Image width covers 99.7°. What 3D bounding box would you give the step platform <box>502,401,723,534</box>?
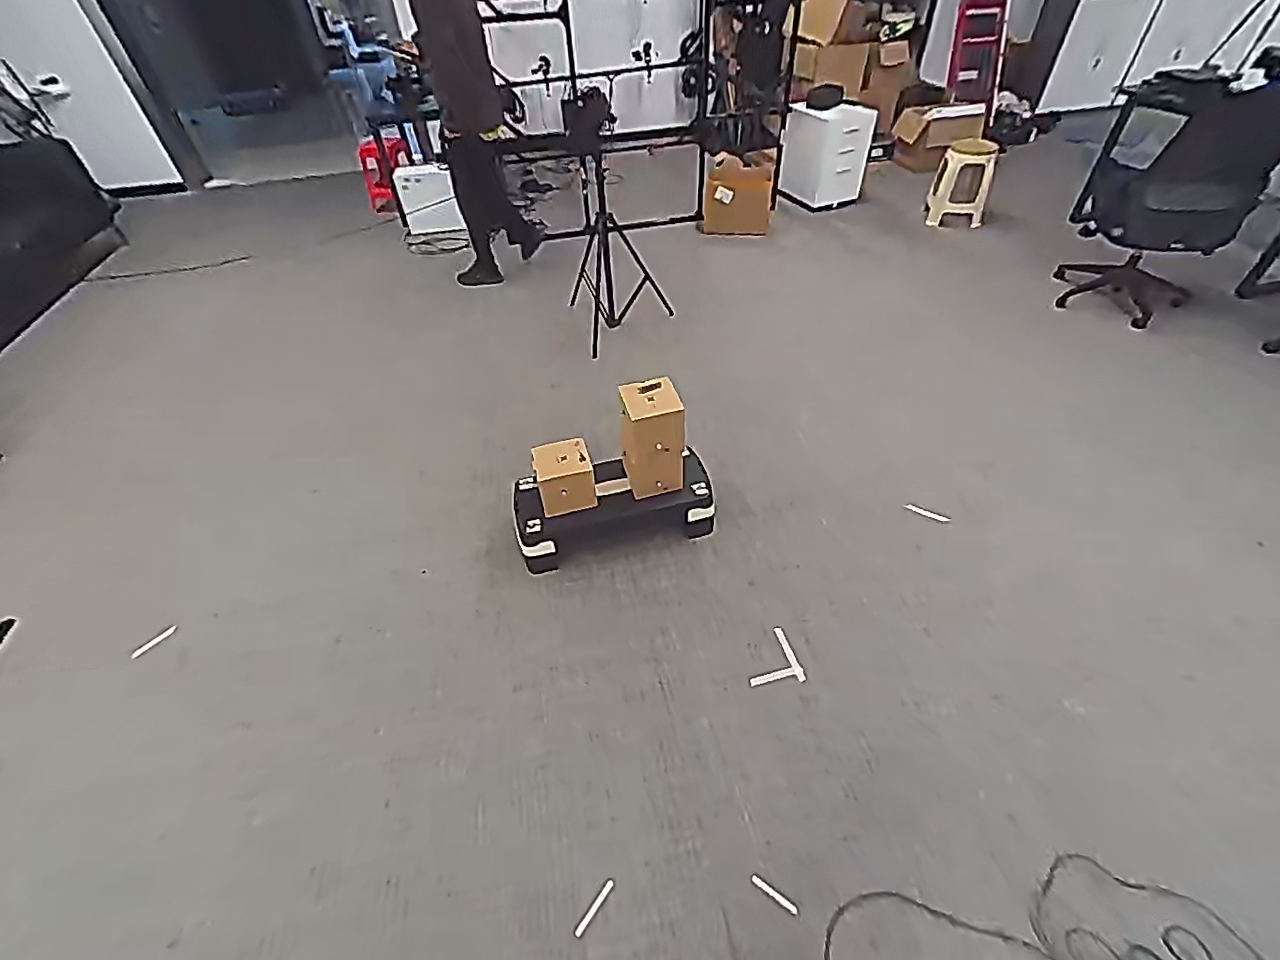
[{"bbox_3d":[-0.084,-0.043,1.744,0.684,0.204,0.286,-12,45,-9],"label":"step platform"}]

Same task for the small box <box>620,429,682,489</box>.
[{"bbox_3d":[0.035,-0.071,1.813,0.168,0.176,0.179,-13,46,-8],"label":"small box"}]

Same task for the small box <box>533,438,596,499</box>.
[{"bbox_3d":[-0.245,-0.009,1.771,0.179,0.176,0.168,-14,46,-10],"label":"small box"}]

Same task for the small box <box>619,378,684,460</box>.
[{"bbox_3d":[0.035,-0.191,1.700,0.168,0.176,0.179,-14,47,-8],"label":"small box"}]
